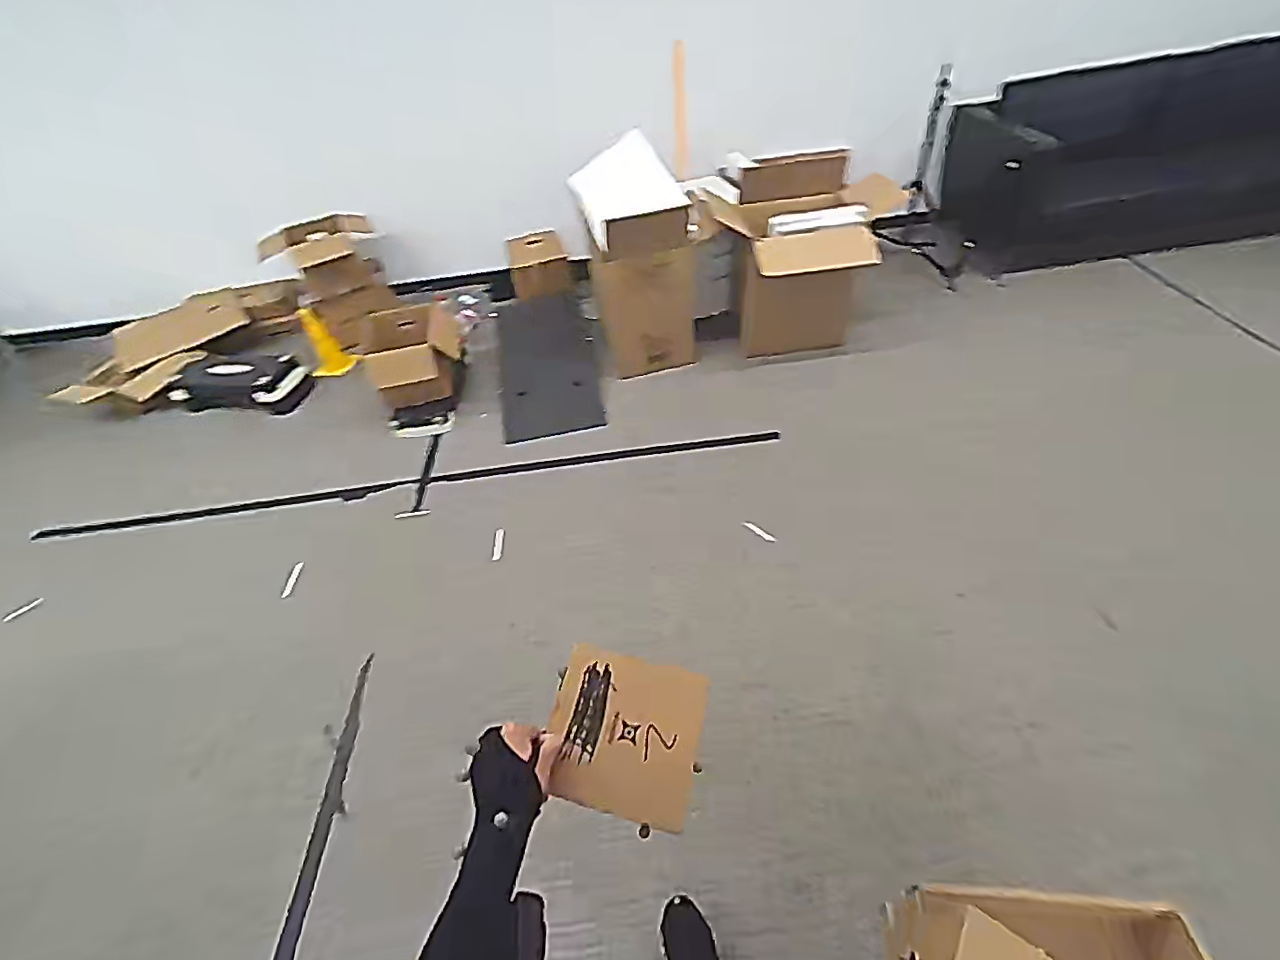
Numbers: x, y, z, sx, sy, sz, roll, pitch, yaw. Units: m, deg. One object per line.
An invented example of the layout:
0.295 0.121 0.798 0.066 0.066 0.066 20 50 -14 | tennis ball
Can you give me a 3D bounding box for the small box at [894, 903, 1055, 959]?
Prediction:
0.389 0.606 0.590 0.179 0.176 0.168 27 55 22 | small box
